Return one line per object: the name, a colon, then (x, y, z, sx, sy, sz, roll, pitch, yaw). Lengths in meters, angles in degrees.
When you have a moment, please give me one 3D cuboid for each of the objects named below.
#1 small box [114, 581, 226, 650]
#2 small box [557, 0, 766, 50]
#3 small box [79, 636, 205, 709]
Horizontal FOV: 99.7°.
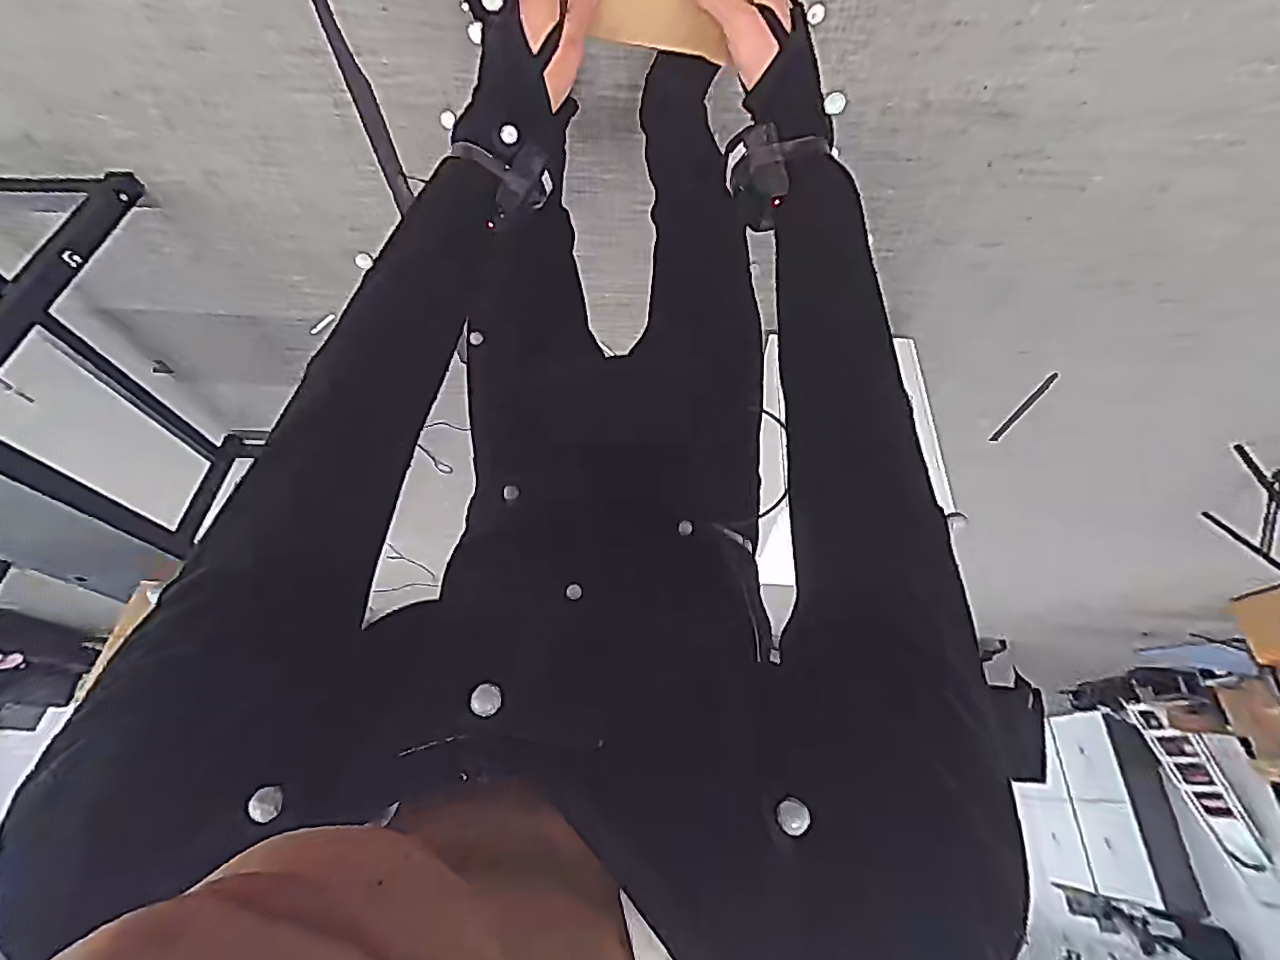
small box: (-1.407, 0.410, 1.639, 0.179, 0.176, 0.168, 2, 150, 4)
small box: (0.021, -0.475, 0.415, 0.168, 0.176, 0.179, 2, 144, -9)
small box: (-1.420, 0.554, 1.558, 0.179, 0.176, 0.168, 3, 151, 3)
